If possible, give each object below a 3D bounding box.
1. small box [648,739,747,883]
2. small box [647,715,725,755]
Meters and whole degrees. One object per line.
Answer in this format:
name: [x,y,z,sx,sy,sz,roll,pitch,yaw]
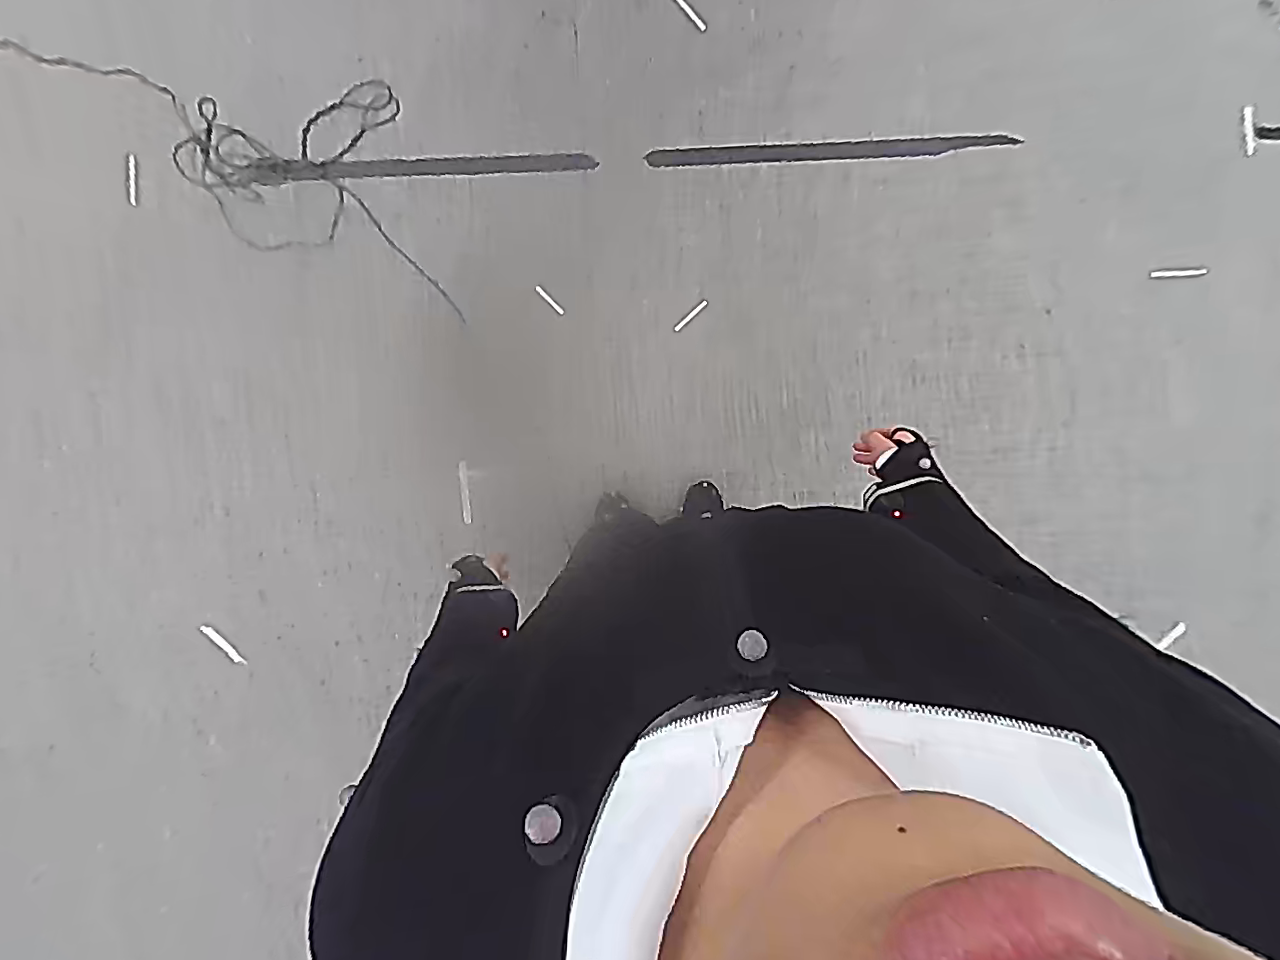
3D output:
small box: [0.106,0.634,1.052,0.168,0.176,0.179,-6,89,0]
small box: [0.105,0.630,1.216,0.168,0.176,0.179,-5,89,0]
